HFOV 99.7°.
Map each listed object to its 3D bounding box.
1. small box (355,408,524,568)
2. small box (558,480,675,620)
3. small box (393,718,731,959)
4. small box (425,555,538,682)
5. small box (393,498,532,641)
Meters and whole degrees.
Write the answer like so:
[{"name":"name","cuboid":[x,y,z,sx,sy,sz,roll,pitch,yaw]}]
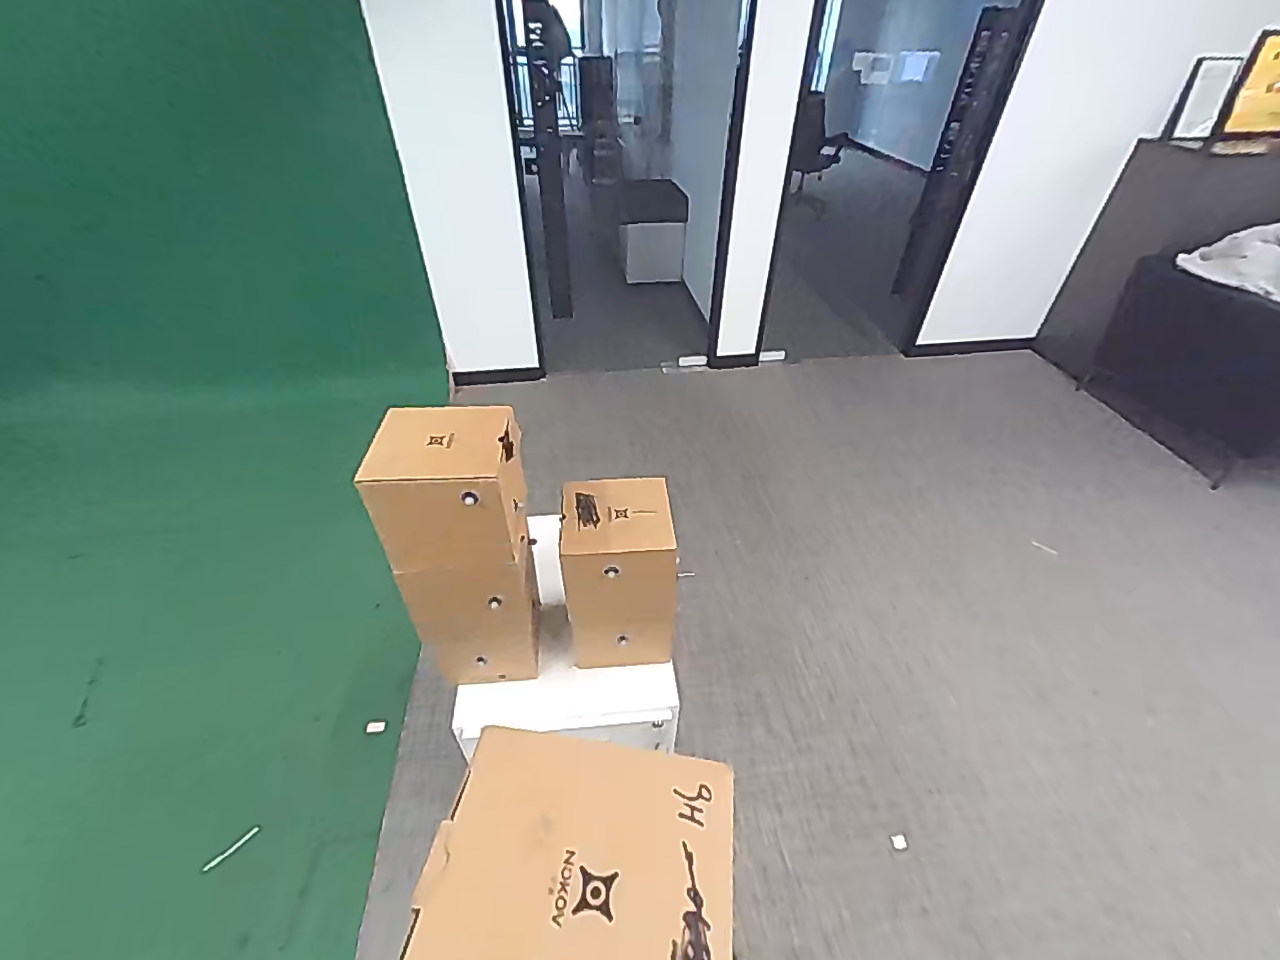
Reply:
[{"name":"small box","cuboid":[-0.268,0.012,0.771,0.179,0.176,0.168,-1,40,-5]},{"name":"small box","cuboid":[-0.038,0.119,0.902,0.179,0.176,0.168,-2,41,-4]},{"name":"small box","cuboid":[-0.040,0.291,0.365,0.179,0.176,0.168,8,40,4]},{"name":"small box","cuboid":[-0.277,0.253,0.989,0.168,0.176,0.179,-2,41,-6]},{"name":"small box","cuboid":[-0.270,0.141,0.873,0.179,0.176,0.168,-3,40,-6]}]
